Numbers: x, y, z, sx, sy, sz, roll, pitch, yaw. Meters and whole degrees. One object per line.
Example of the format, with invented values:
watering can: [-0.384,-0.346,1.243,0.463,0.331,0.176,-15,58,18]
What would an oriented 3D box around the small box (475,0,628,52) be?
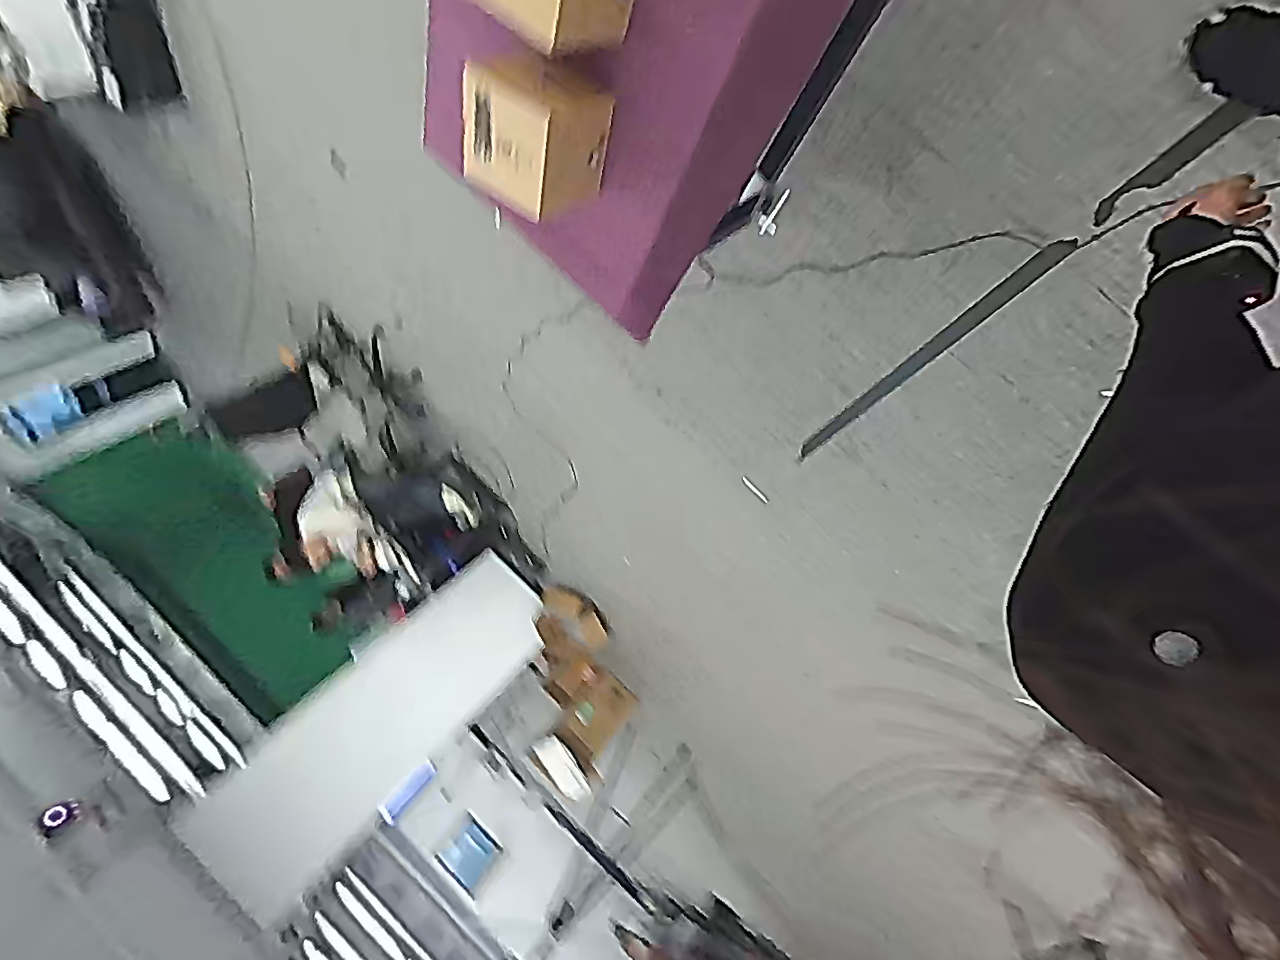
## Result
small box: [-0.120,-0.725,0.733,0.179,0.176,0.168,40,144,7]
